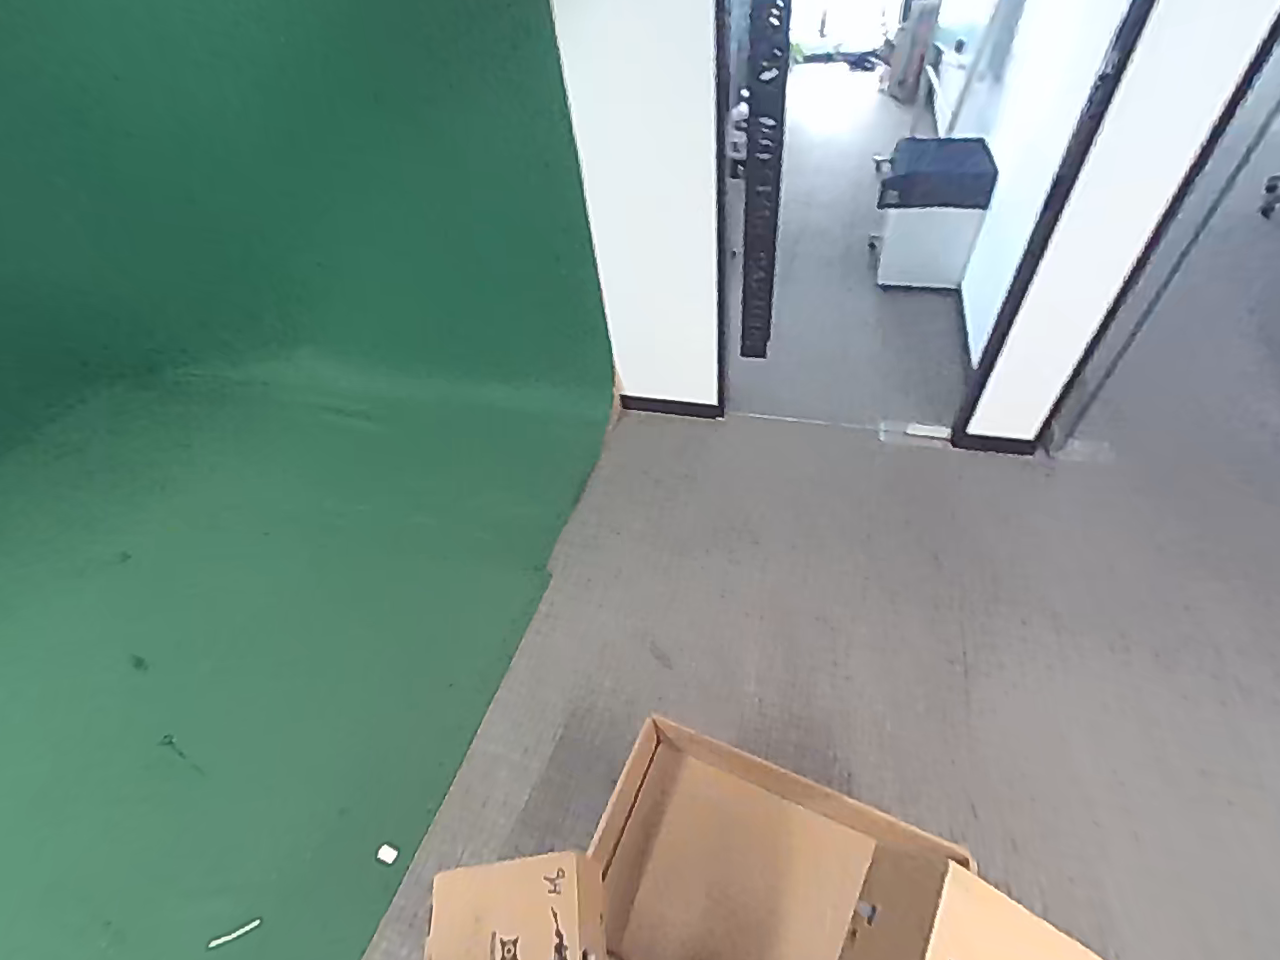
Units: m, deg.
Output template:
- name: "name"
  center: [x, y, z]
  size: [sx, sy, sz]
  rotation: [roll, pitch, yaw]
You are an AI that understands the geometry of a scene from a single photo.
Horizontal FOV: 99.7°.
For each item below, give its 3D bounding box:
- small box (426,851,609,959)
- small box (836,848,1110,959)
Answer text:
- name: "small box"
  center: [-0.139, 0.566, 0.650]
  size: [0.179, 0.176, 0.168]
  rotation: [-10, 49, 2]
- name: "small box"
  center: [0.332, 0.508, 0.550]
  size: [0.179, 0.176, 0.168]
  rotation: [30, 62, 13]
